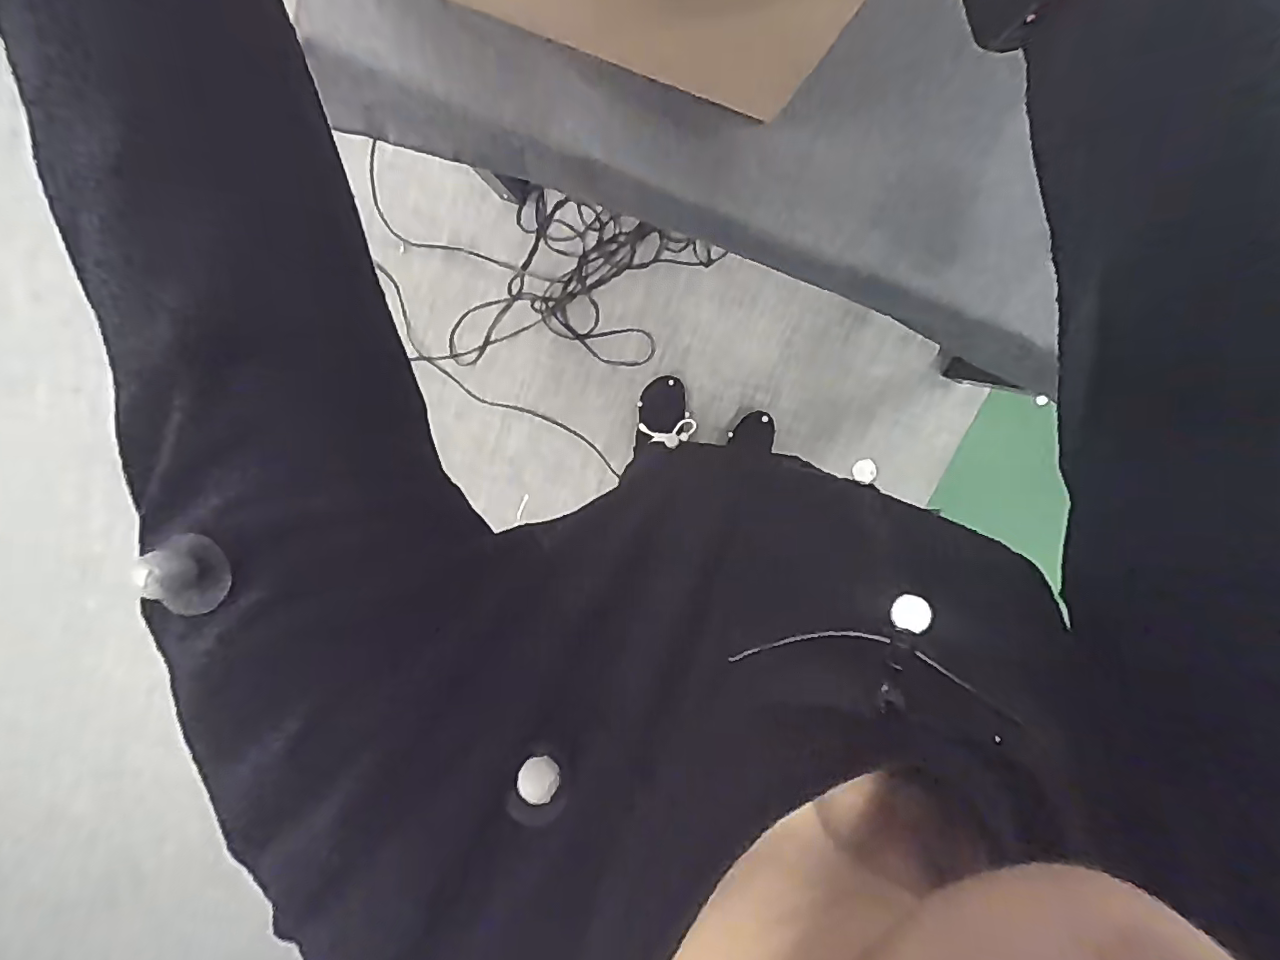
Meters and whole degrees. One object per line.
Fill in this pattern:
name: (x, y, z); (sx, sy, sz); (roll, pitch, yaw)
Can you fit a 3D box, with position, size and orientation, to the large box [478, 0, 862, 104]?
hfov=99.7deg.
large box: (-0.005, -0.507, 0.319); (0.408, 0.320, 0.320); (15, 105, -8)
